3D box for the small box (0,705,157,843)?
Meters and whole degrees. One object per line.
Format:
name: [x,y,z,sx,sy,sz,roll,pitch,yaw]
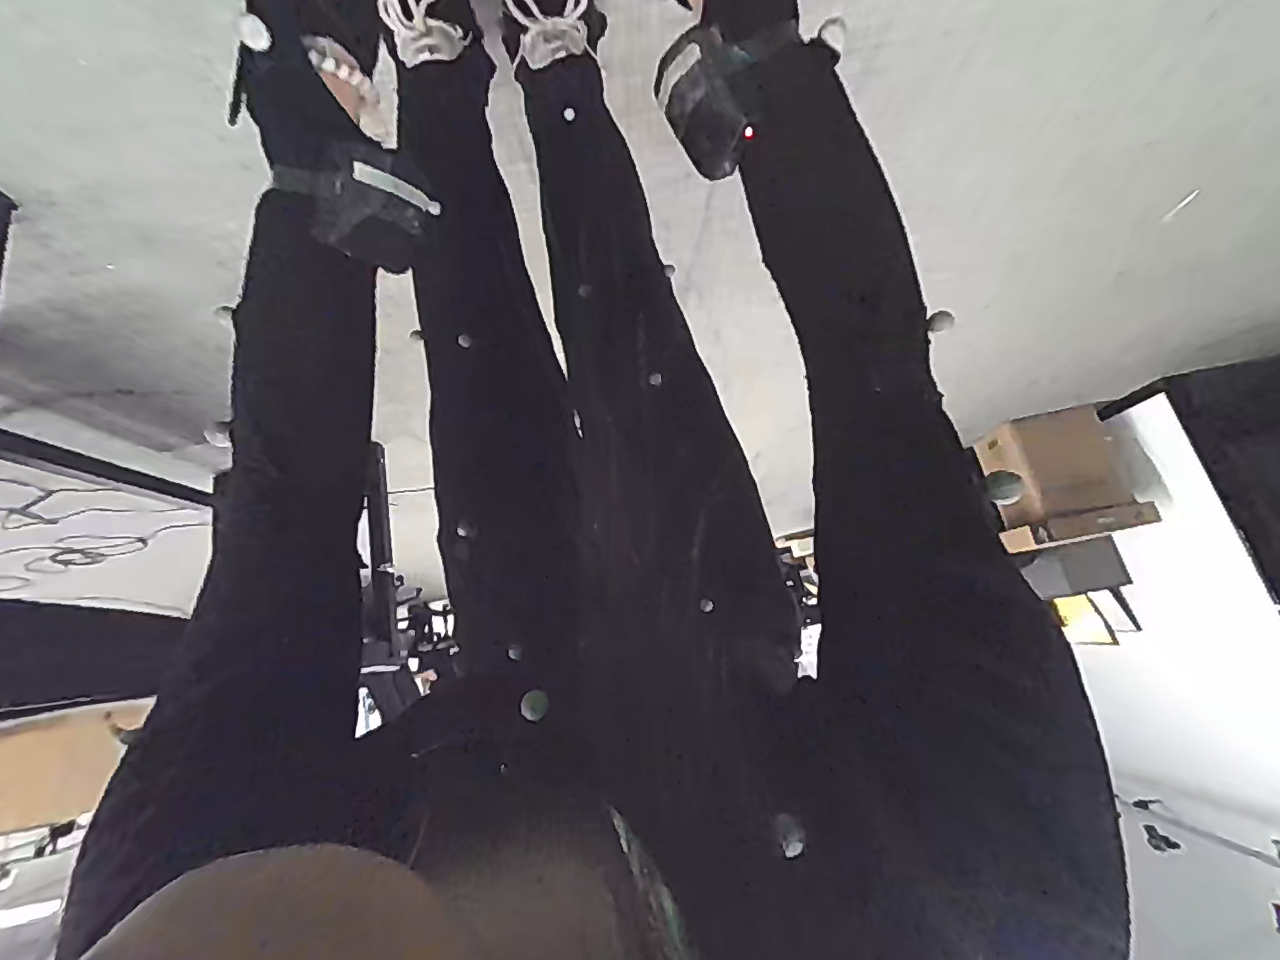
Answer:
small box: [-0.972,0.491,0.918,0.179,0.176,0.168,-12,165,0]
